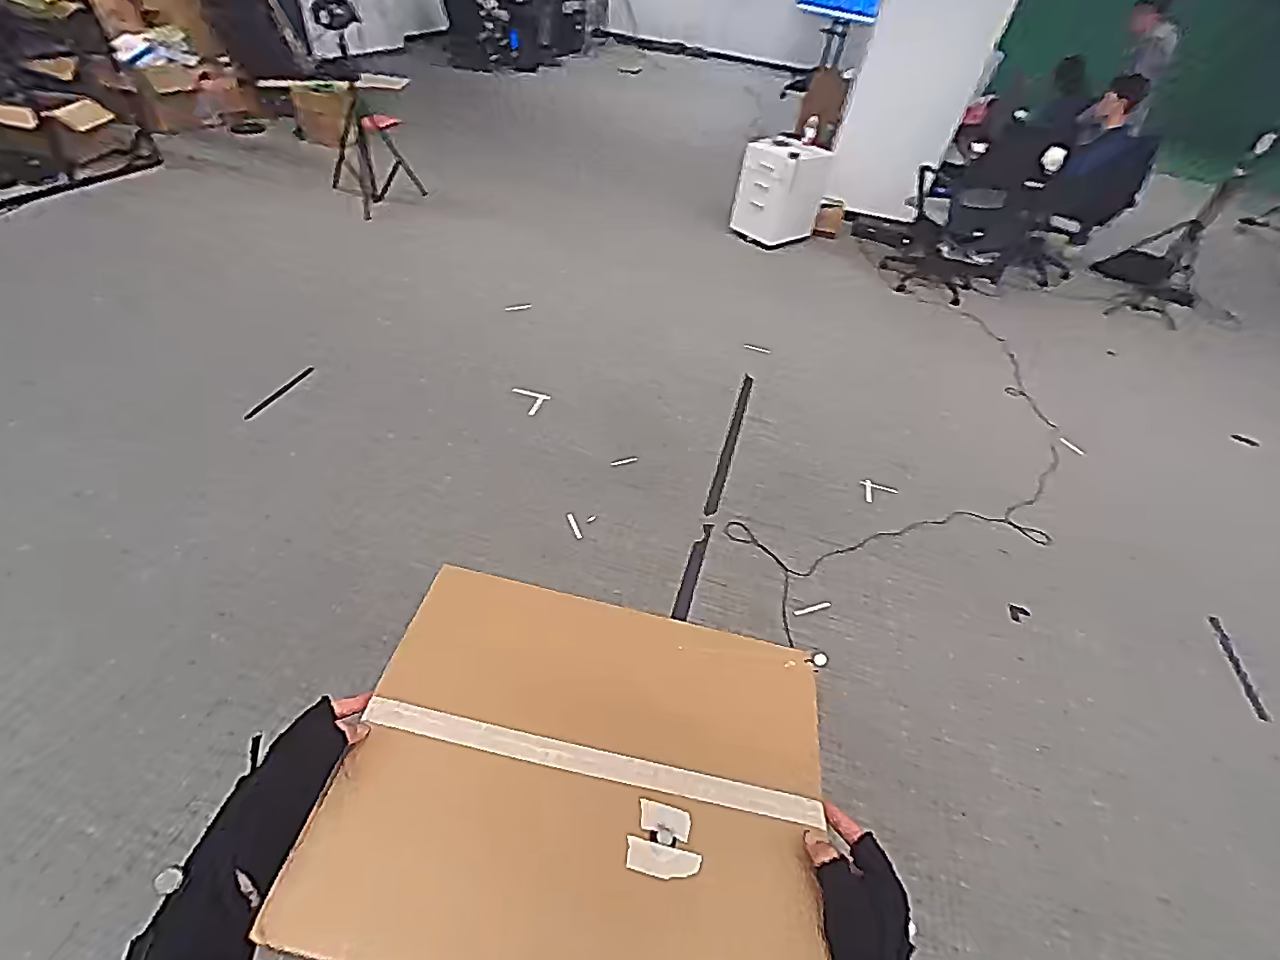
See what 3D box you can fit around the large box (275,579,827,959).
[{"bbox_3d":[-0.061,0.356,0.578,0.408,0.320,0.320,14,46,0],"label":"large box"}]
